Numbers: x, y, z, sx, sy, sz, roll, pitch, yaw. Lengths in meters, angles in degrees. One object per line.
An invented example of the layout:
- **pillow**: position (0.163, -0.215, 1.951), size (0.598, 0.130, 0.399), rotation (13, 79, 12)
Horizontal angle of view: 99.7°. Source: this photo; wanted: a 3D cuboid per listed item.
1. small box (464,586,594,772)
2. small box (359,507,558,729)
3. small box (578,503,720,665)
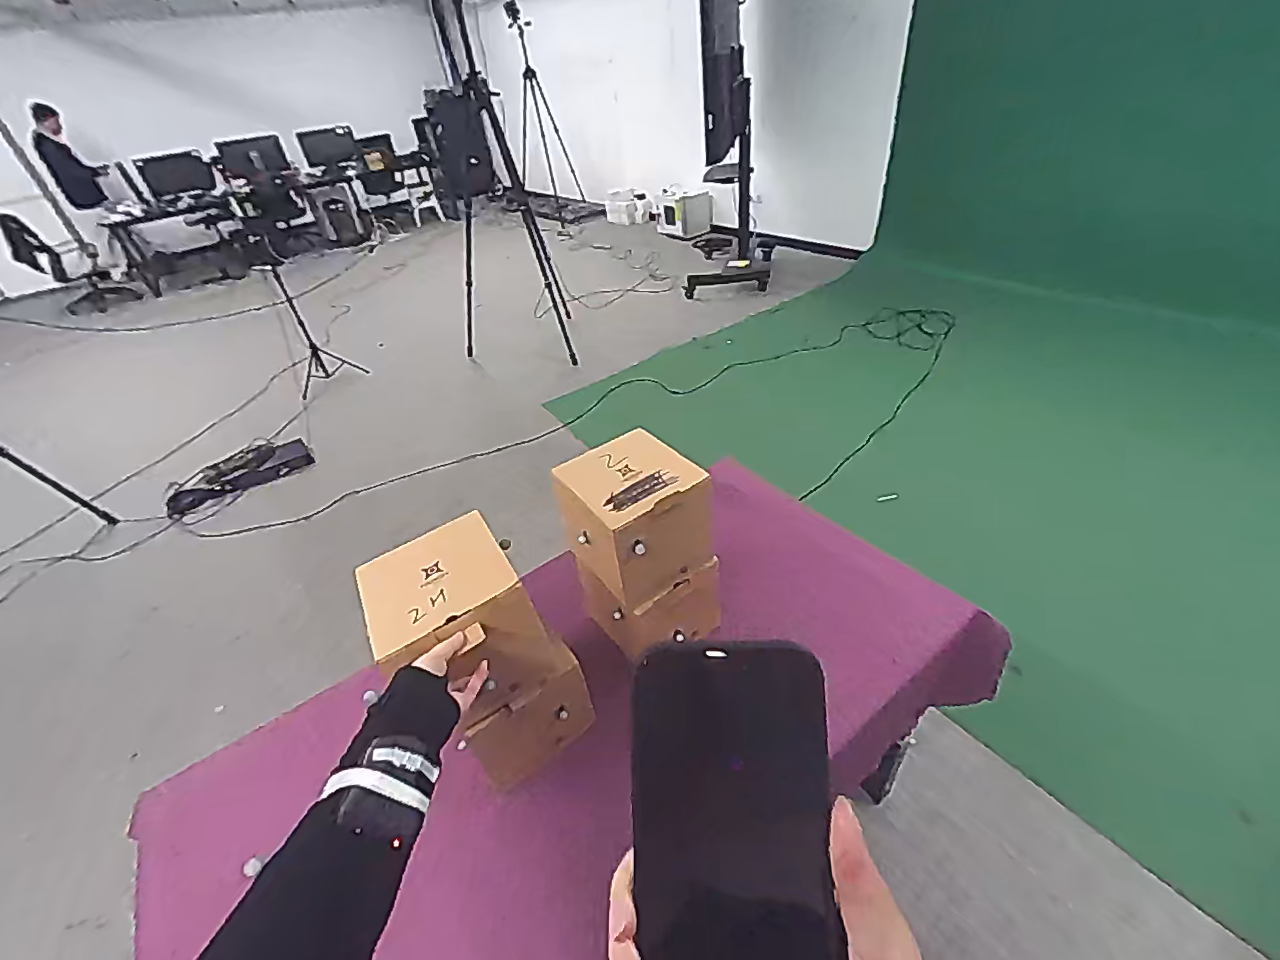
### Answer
- **small box**: position (-0.187, 0.298, 0.802), size (0.168, 0.176, 0.179), rotation (-29, 42, -25)
- **small box**: position (-0.227, 0.171, 0.687), size (0.168, 0.176, 0.179), rotation (-29, 39, -17)
- **small box**: position (0.017, 0.175, 0.918), size (0.168, 0.176, 0.179), rotation (-30, 44, -25)
